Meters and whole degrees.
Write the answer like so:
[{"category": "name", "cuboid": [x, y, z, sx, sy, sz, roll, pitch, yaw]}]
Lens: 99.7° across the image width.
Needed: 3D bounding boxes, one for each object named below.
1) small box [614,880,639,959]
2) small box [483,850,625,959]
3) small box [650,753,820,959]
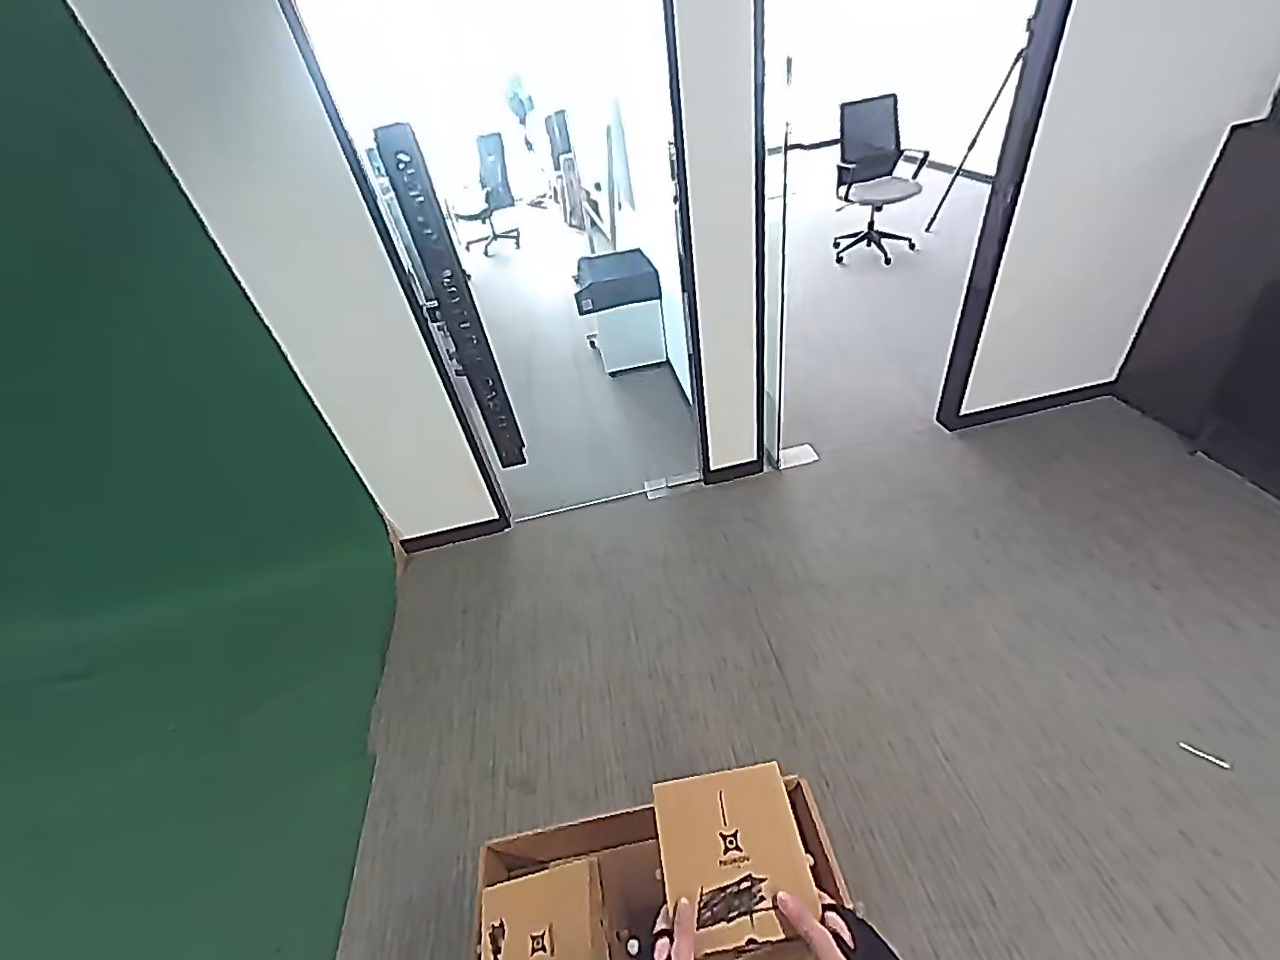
[{"category": "small box", "cuboid": [-0.097, 0.794, 0.886, 0.179, 0.176, 0.168, -11, 40, -3]}, {"category": "small box", "cuboid": [-0.117, 0.670, 0.781, 0.179, 0.176, 0.168, -12, 40, -4]}, {"category": "small box", "cuboid": [0.112, 0.478, 0.678, 0.168, 0.176, 0.179, -10, 39, -1]}]
